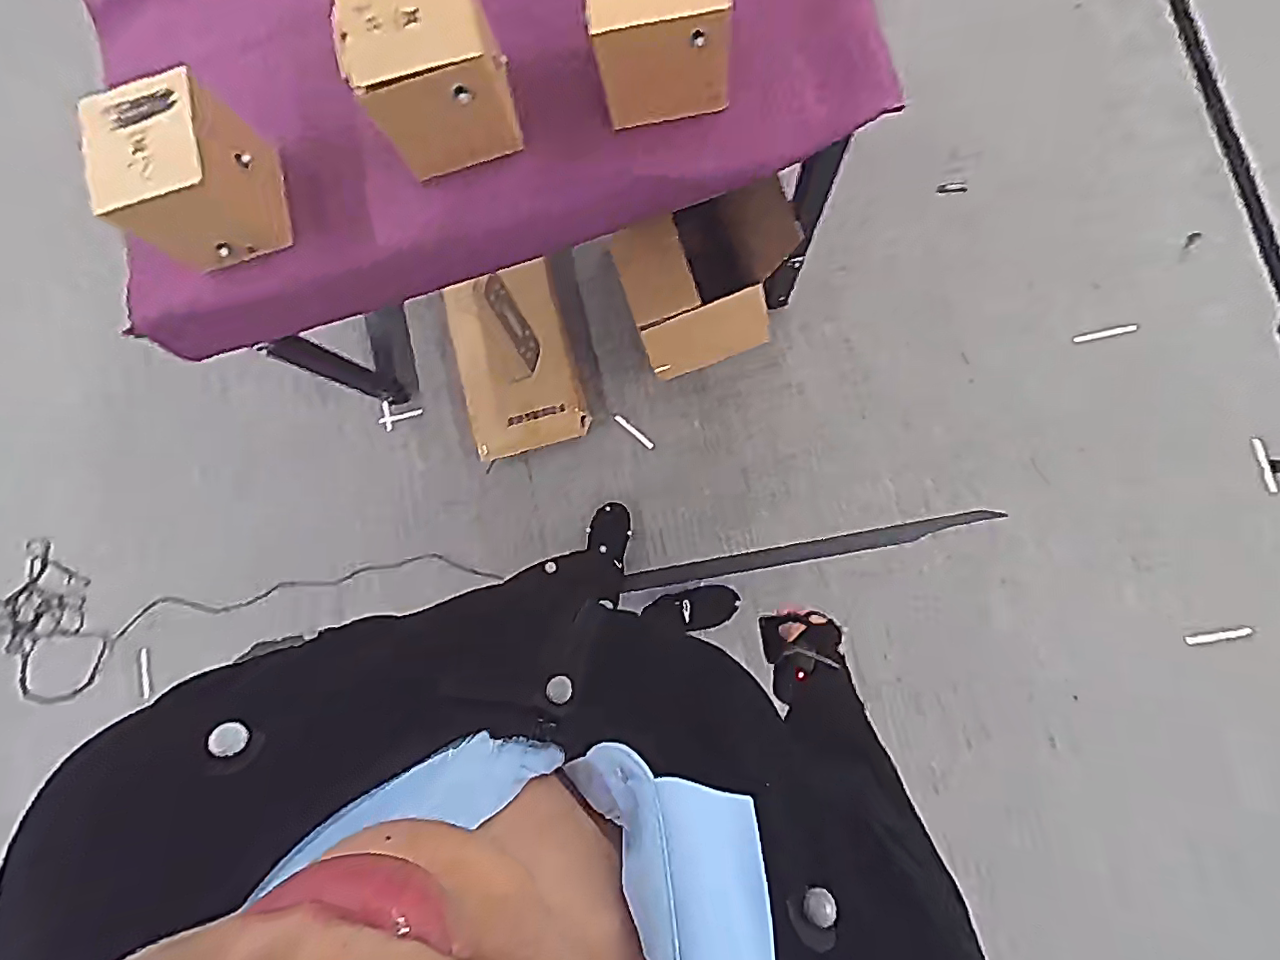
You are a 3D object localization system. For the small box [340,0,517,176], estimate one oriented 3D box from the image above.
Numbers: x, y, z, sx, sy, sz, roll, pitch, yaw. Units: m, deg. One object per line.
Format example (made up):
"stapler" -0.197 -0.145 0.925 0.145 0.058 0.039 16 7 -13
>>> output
"small box" -0.287 -0.578 0.771 0.179 0.176 0.168 -14 81 4

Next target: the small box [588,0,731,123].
"small box" 0.026 -0.632 0.745 0.179 0.176 0.168 -7 84 5
